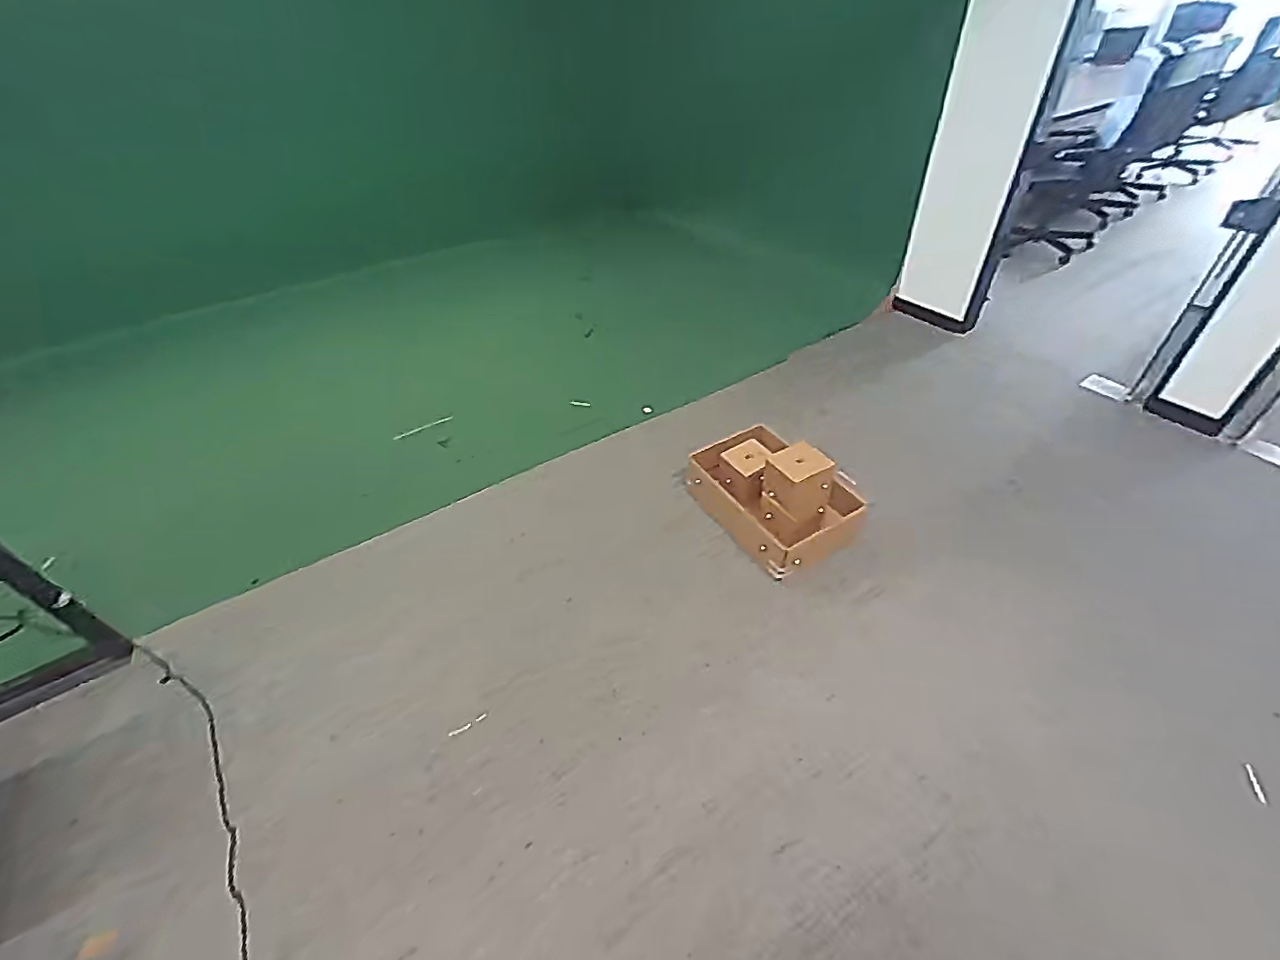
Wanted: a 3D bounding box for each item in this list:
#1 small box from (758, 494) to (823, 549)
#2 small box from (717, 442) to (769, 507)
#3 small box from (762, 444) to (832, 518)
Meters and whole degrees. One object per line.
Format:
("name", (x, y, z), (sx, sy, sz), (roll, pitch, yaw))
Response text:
("small box", (0.561, 0.129, 2.039), (0.179, 0.176, 0.168), (-24, 45, -20))
("small box", (0.430, -0.020, 2.209), (0.179, 0.176, 0.168), (-25, 47, -20))
("small box", (0.552, 0.005, 1.931), (0.179, 0.176, 0.168), (-23, 43, -18))
